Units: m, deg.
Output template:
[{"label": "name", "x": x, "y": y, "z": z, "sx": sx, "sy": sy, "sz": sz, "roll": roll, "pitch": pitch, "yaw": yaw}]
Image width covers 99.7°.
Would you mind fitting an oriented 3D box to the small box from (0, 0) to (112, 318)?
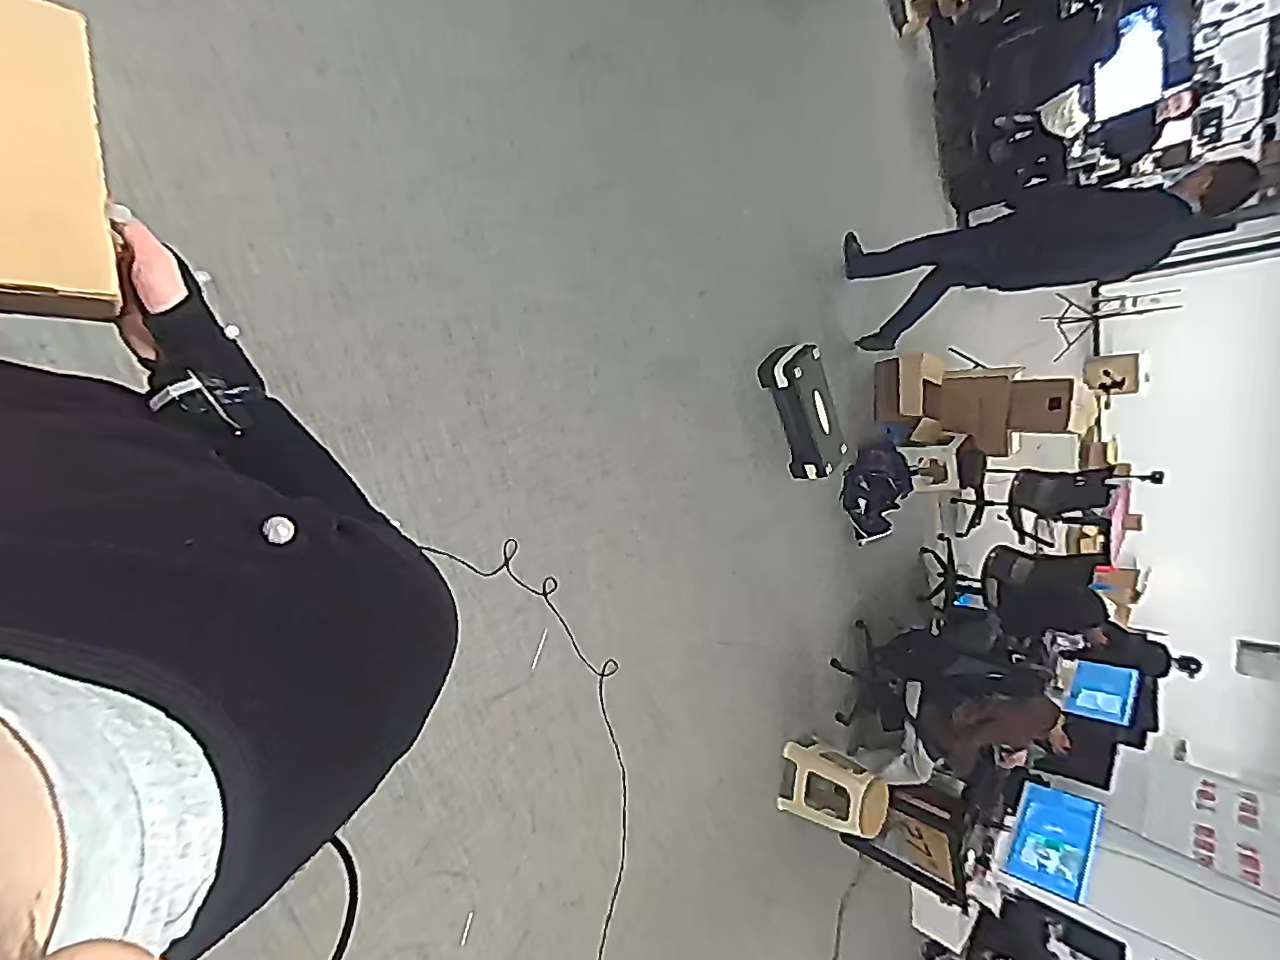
[{"label": "small box", "x": -0.458, "y": -0.204, "z": 0.343, "sx": 0.168, "sy": 0.176, "sz": 0.179, "roll": -8, "pitch": 102, "yaw": -45}]
